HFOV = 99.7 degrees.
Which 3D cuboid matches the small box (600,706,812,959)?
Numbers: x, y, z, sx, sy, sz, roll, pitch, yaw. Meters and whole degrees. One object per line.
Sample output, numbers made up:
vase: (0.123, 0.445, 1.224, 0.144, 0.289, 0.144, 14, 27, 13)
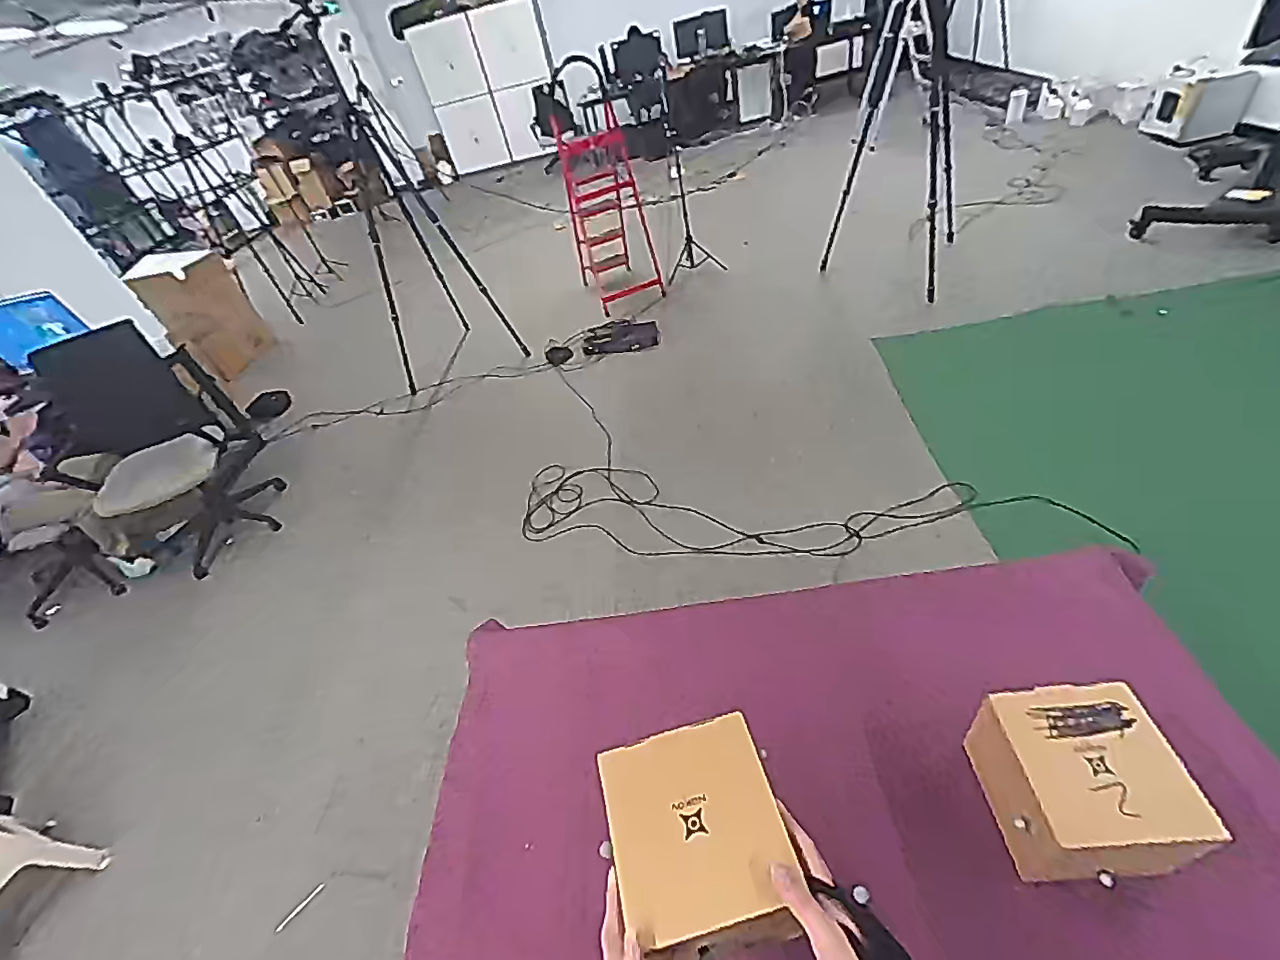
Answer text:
small box: (0.067, 0.380, 0.572, 0.168, 0.176, 0.179, -16, 40, -5)
